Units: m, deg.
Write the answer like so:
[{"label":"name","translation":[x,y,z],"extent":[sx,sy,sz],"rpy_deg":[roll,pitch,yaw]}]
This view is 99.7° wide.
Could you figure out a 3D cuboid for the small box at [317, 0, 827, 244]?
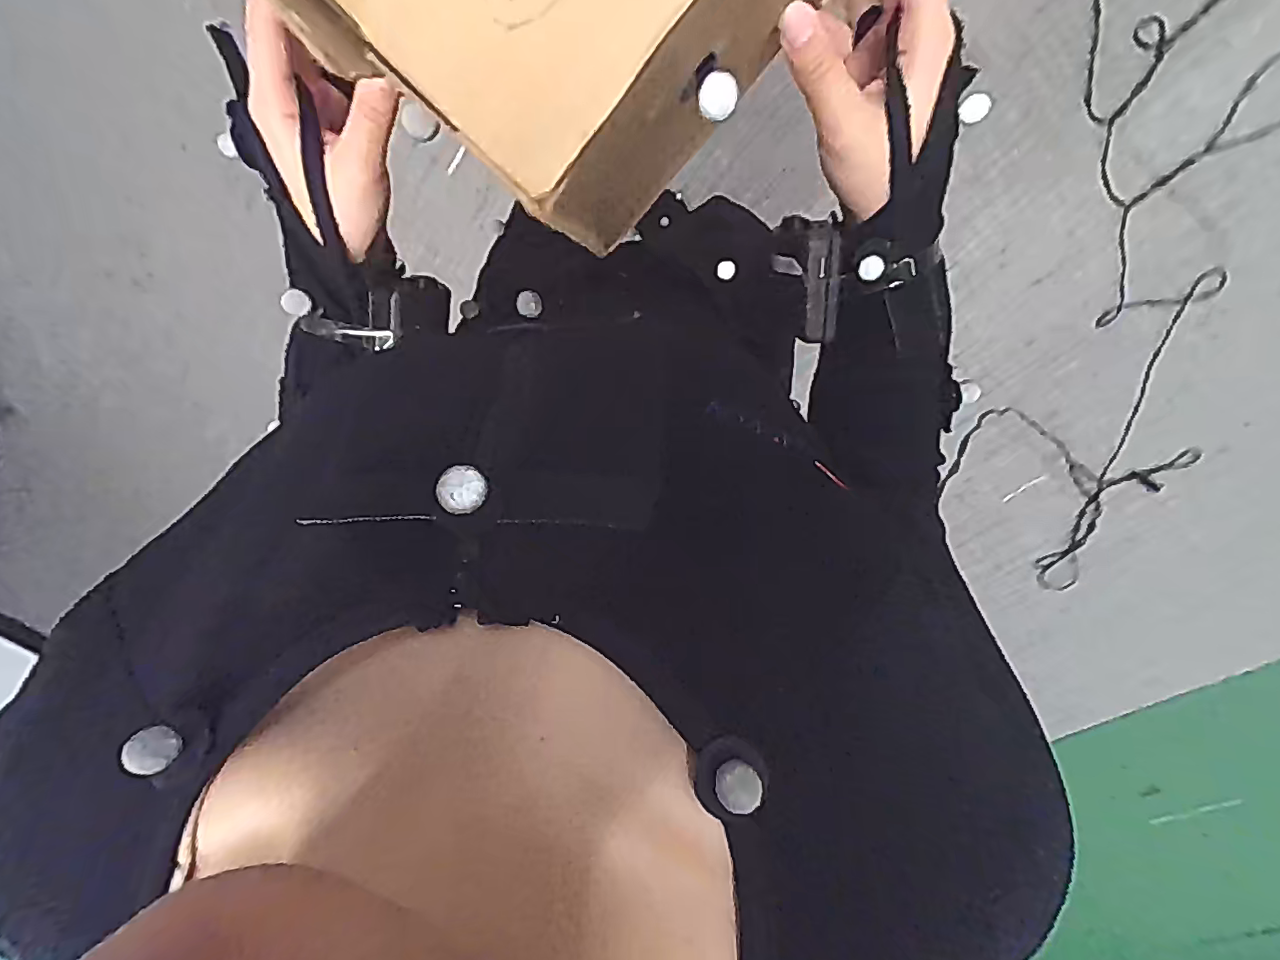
[{"label":"small box","translation":[-0.021,-0.215,0.204],"extent":[0.168,0.176,0.179],"rpy_deg":[42,106,-11]}]
